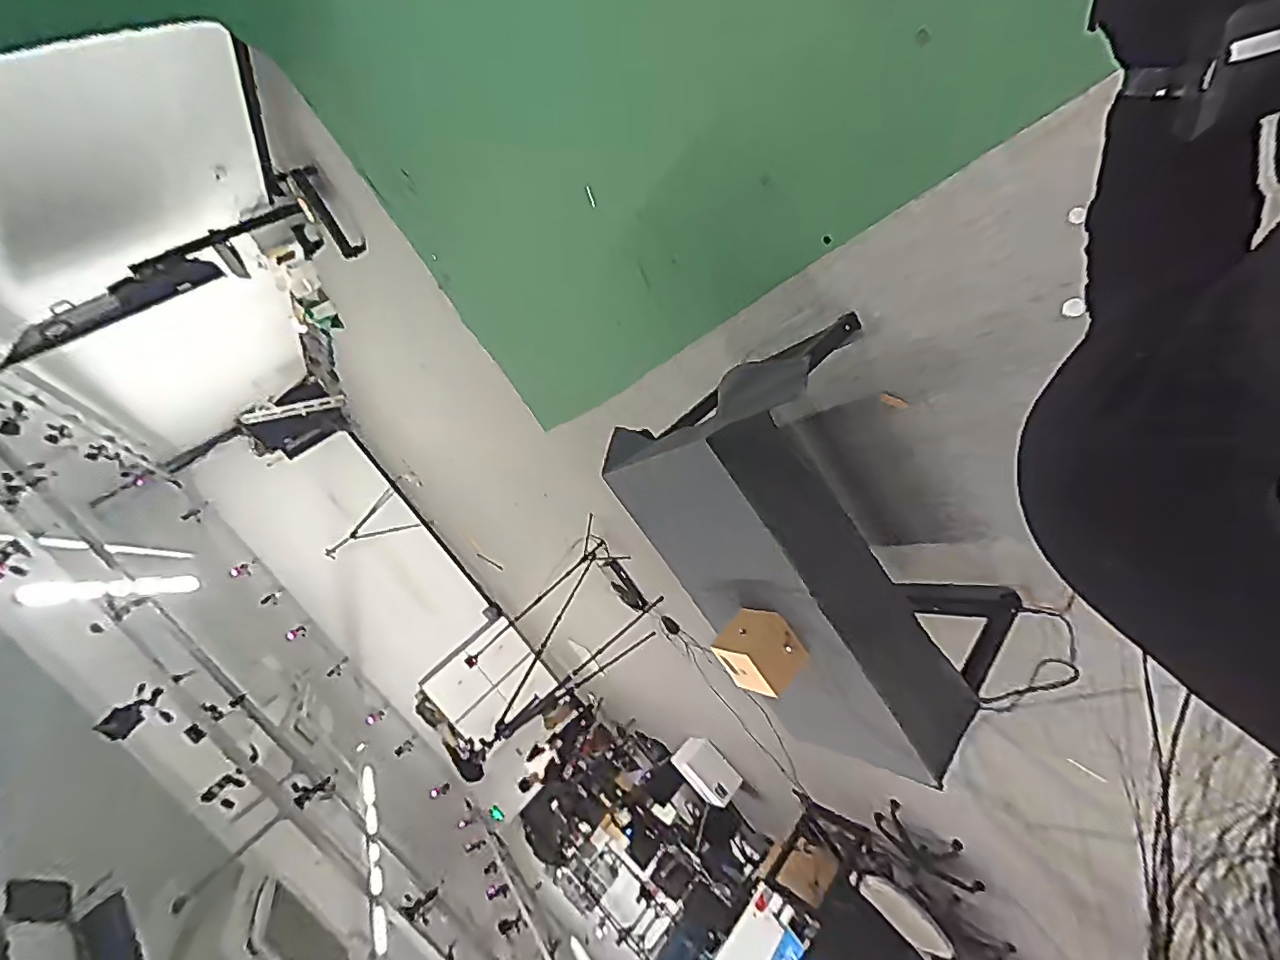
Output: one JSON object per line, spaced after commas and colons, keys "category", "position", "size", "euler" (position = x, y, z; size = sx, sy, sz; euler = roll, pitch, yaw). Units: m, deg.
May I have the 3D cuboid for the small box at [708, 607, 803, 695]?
{"category": "small box", "position": [0.339, 0.491, 1.581], "size": [0.168, 0.176, 0.179], "euler": [55, 152, -11]}
